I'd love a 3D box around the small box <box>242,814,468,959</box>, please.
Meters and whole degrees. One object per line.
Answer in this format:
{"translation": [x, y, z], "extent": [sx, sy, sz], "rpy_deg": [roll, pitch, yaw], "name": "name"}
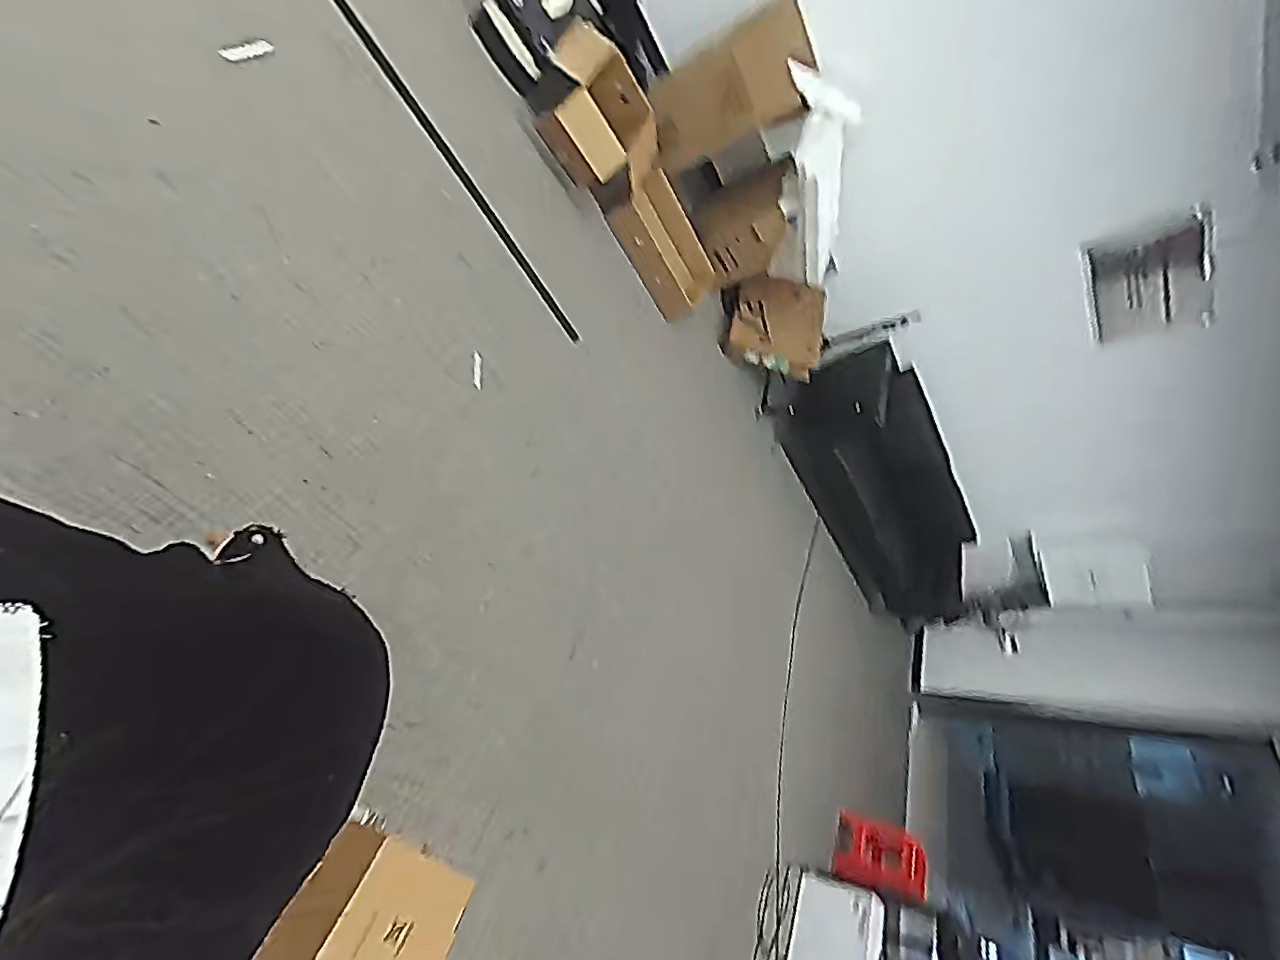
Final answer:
{"translation": [-0.379, 0.580, 0.729], "extent": [0.179, 0.176, 0.168], "rpy_deg": [53, 43, -27], "name": "small box"}
